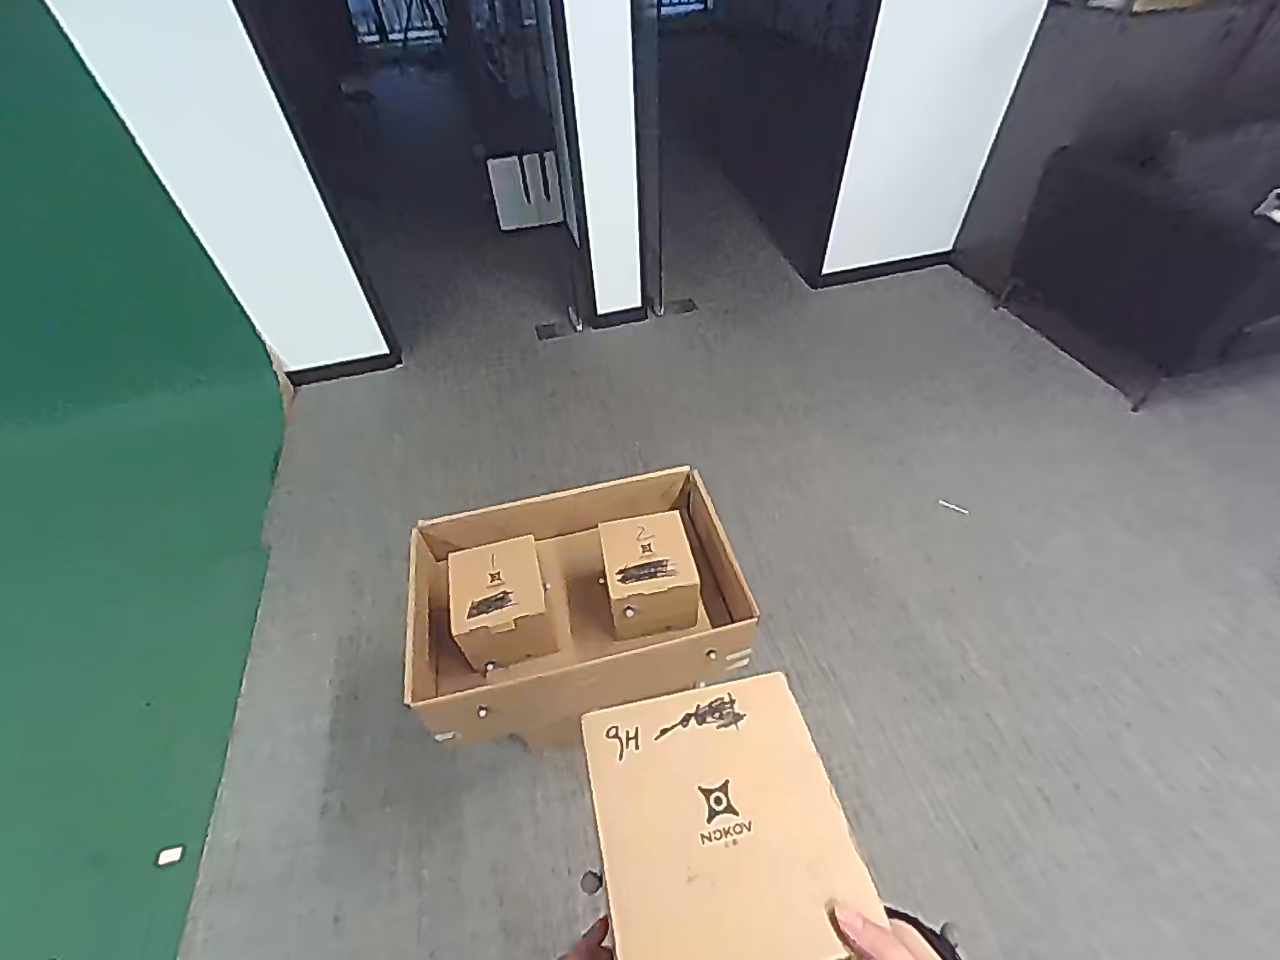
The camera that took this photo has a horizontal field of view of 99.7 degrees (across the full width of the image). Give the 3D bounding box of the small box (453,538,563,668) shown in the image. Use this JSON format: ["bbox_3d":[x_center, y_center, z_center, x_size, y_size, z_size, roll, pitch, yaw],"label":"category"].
[{"bbox_3d":[-0.254,0.246,1.052,0.168,0.176,0.179,-14,48,-8],"label":"small box"}]

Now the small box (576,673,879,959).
[{"bbox_3d":[0.048,0.284,0.426,0.168,0.176,0.179,-9,47,-10],"label":"small box"}]
